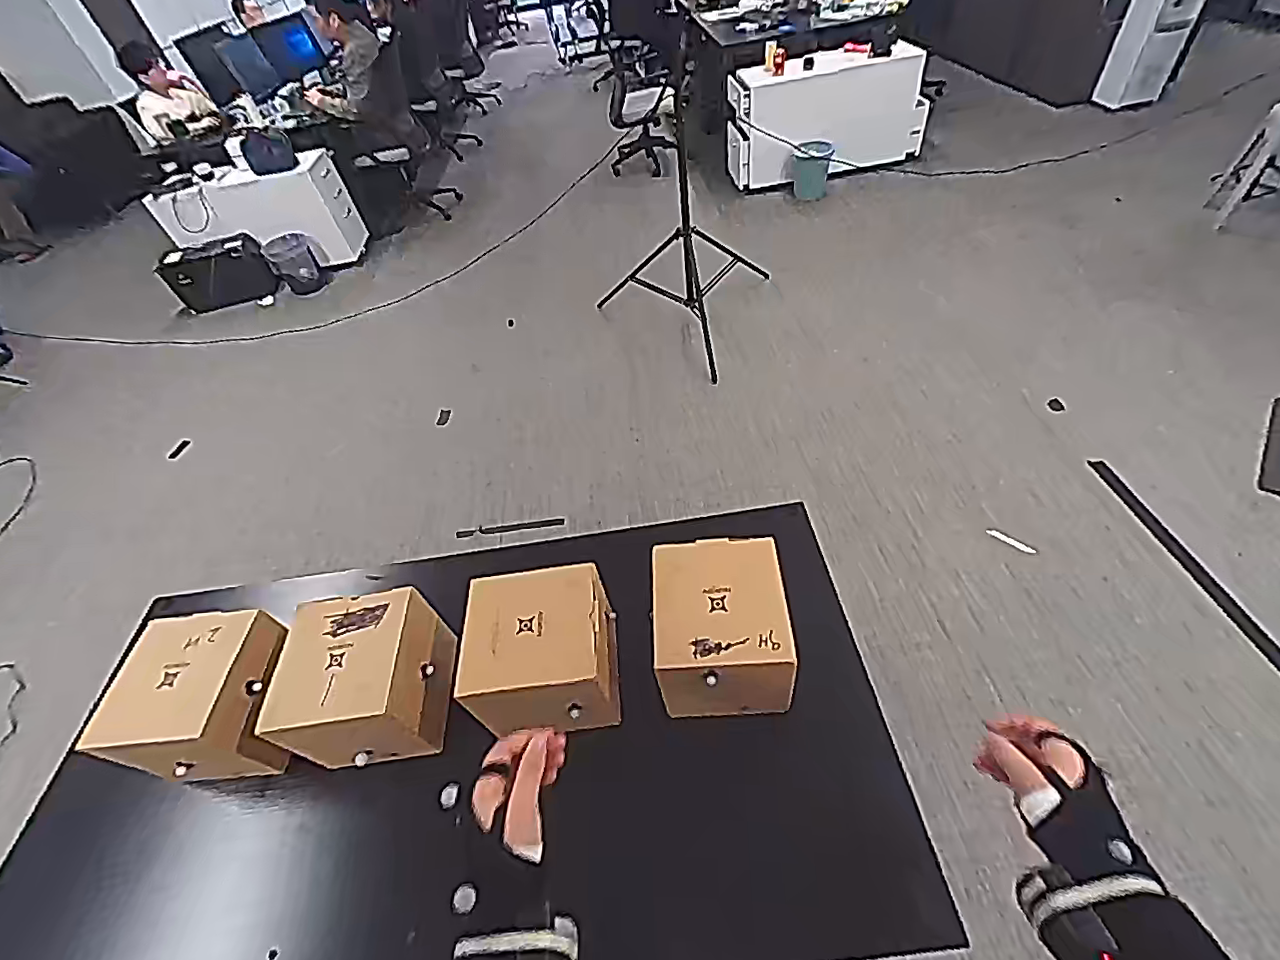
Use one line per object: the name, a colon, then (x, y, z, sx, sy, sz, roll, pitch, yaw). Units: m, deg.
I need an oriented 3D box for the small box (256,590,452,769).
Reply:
small box: (-0.378, 0.280, 0.757, 0.168, 0.176, 0.179, -9, 49, 1)

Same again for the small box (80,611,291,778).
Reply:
small box: (-0.600, 0.311, 0.770, 0.168, 0.176, 0.179, -6, 48, 3)

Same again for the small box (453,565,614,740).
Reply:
small box: (-0.133, 0.242, 0.750, 0.179, 0.176, 0.168, -9, 46, 3)

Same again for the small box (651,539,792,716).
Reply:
small box: (0.105, 0.203, 0.738, 0.168, 0.176, 0.179, -5, 47, 7)
